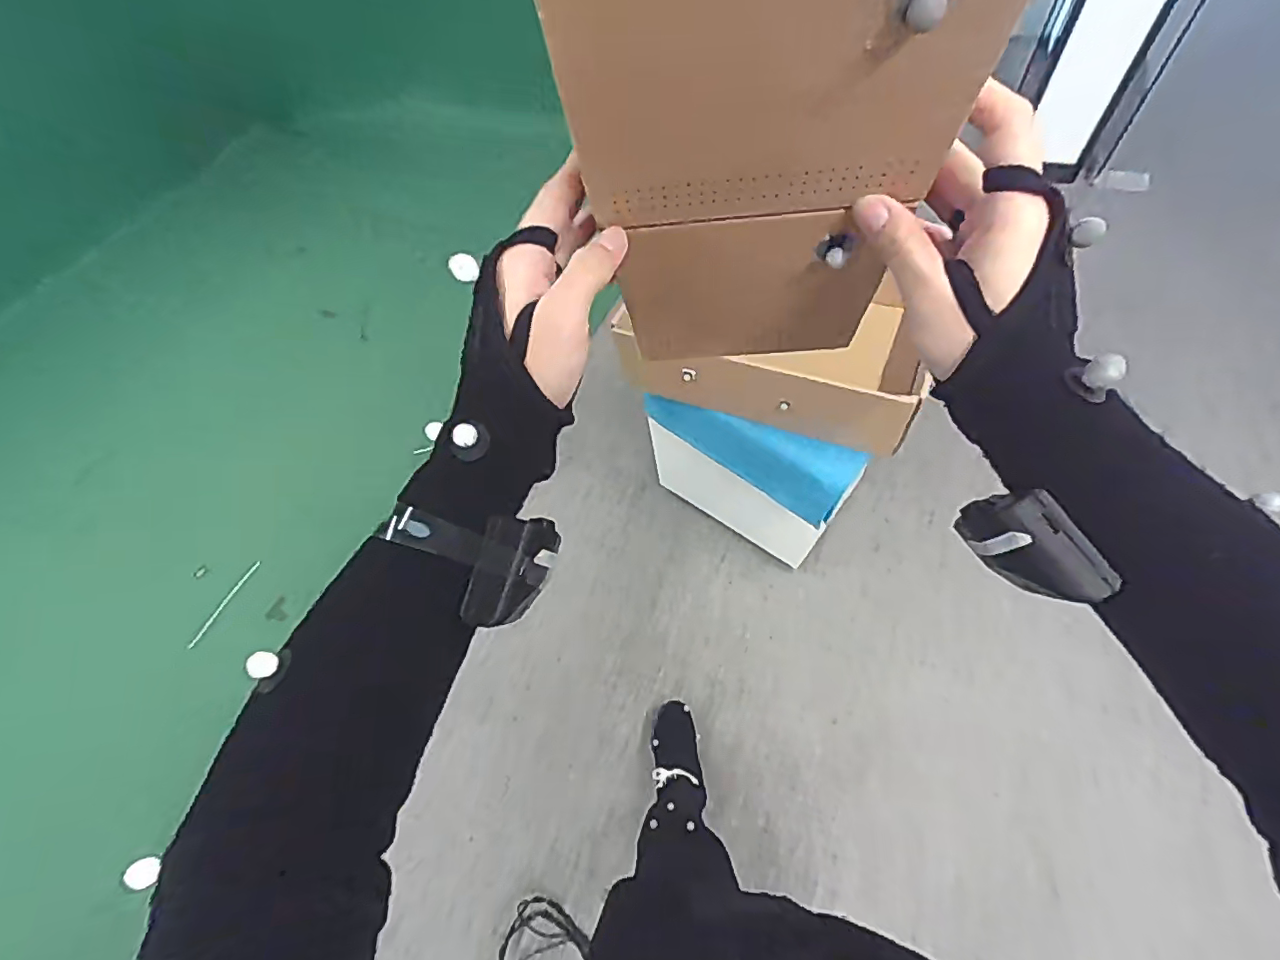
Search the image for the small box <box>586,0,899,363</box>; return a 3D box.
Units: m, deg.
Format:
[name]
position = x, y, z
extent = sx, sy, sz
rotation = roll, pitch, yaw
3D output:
[small box]
position = 0.065, -0.198, 0.399
extent = 0.179, 0.176, 0.168
rotation = -3, 75, 7
